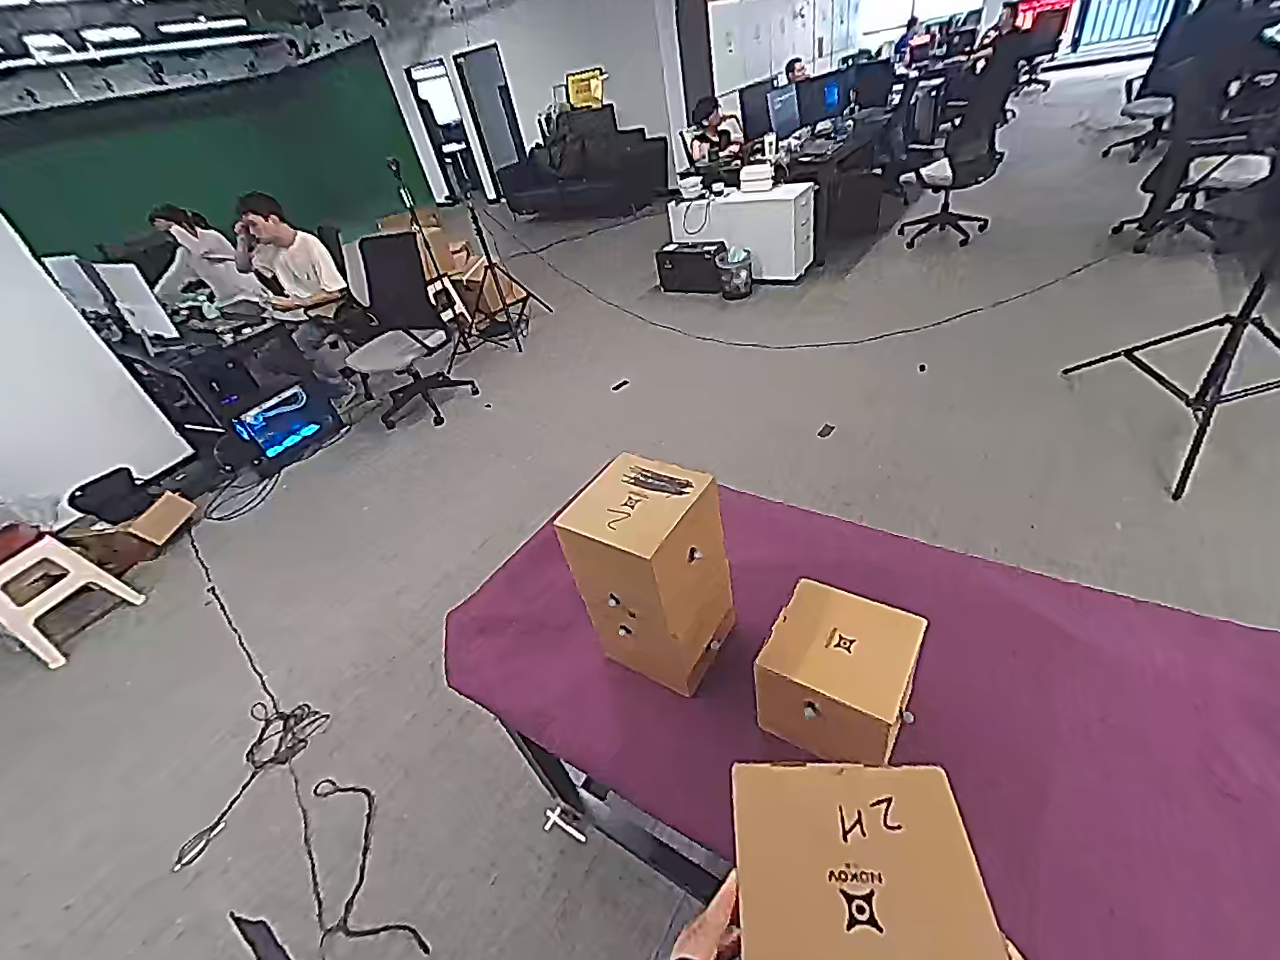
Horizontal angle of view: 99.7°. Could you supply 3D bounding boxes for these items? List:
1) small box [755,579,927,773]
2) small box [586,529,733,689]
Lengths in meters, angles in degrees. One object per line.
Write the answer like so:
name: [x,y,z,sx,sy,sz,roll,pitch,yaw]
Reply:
small box: [0.279,0.275,0.759,0.179,0.176,0.168,15,46,33]
small box: [0.041,0.215,0.903,0.179,0.176,0.168,16,46,32]
